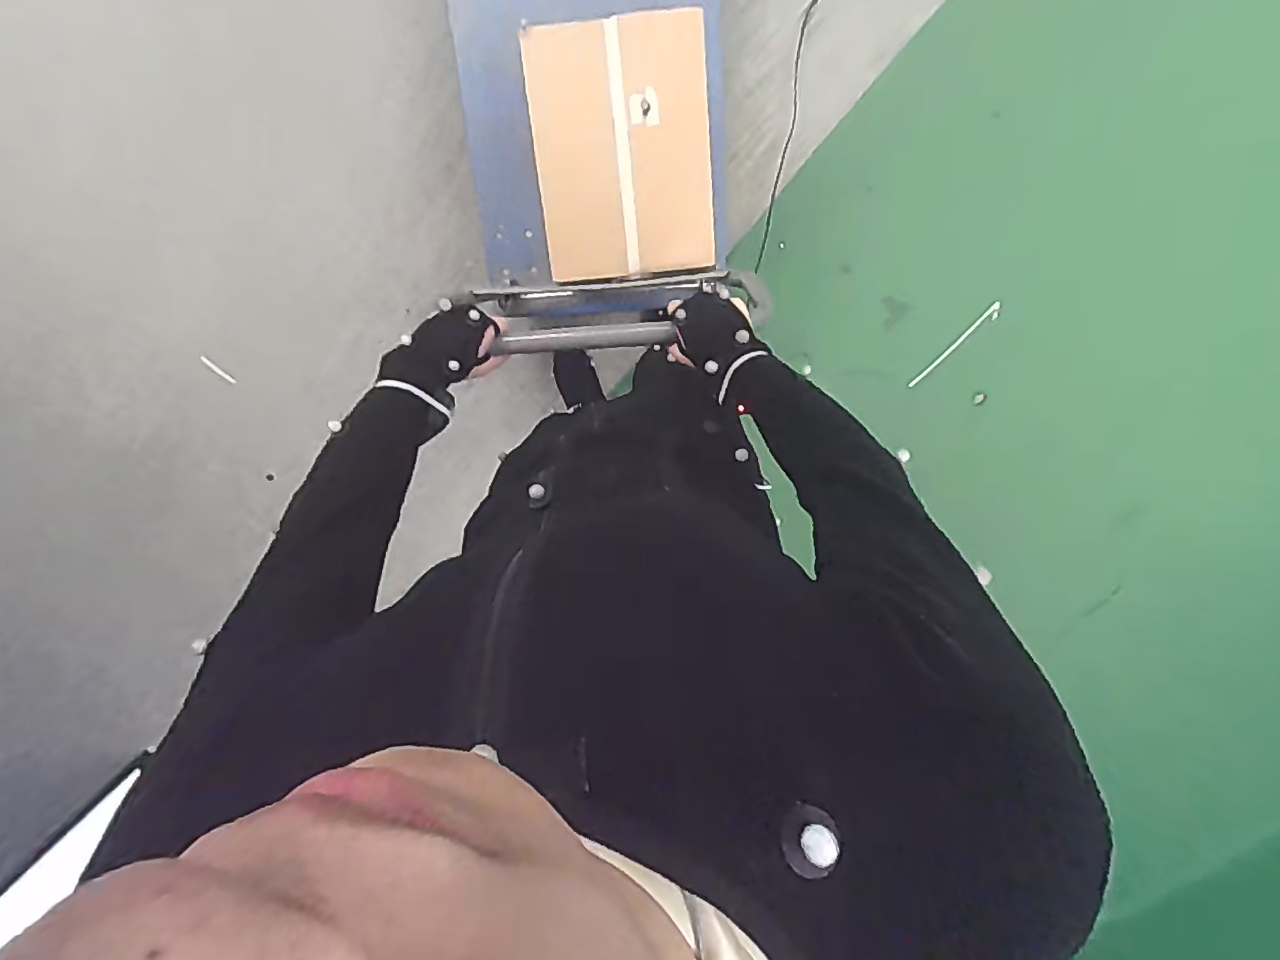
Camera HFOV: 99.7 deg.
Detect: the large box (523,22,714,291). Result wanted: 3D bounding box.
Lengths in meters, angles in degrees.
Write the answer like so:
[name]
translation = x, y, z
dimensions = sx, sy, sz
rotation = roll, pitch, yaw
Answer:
[large box]
translation = -0.029, -0.626, 1.130
dimensions = 0.320, 0.320, 0.408
rotation = -5, 108, 1
